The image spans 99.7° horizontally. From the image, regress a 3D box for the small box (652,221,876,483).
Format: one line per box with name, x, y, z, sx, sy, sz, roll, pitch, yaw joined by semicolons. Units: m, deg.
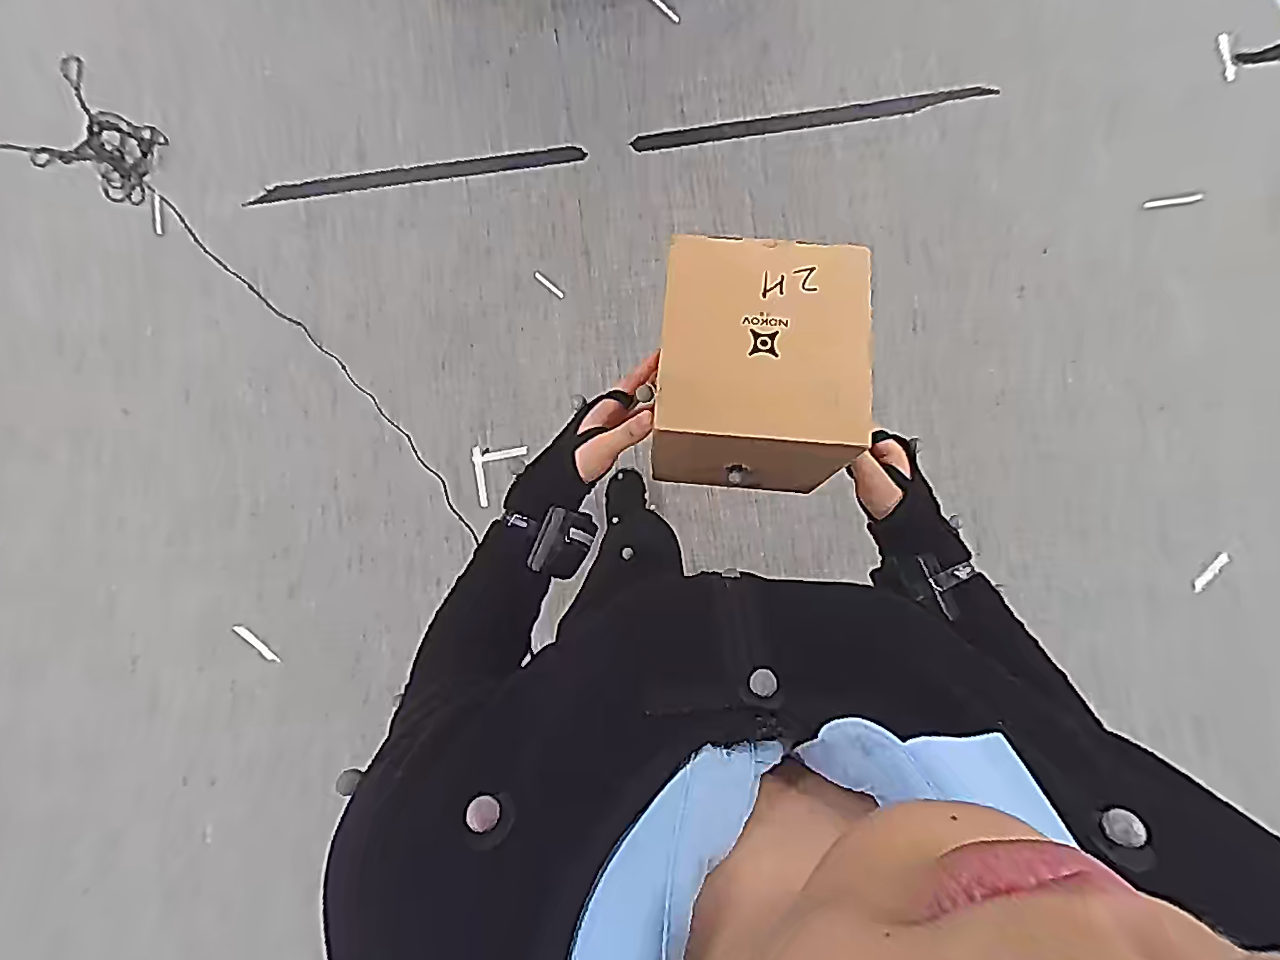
small box;0.101;-0.102;0.497;0.168;0.176;0.179;5;76;2
